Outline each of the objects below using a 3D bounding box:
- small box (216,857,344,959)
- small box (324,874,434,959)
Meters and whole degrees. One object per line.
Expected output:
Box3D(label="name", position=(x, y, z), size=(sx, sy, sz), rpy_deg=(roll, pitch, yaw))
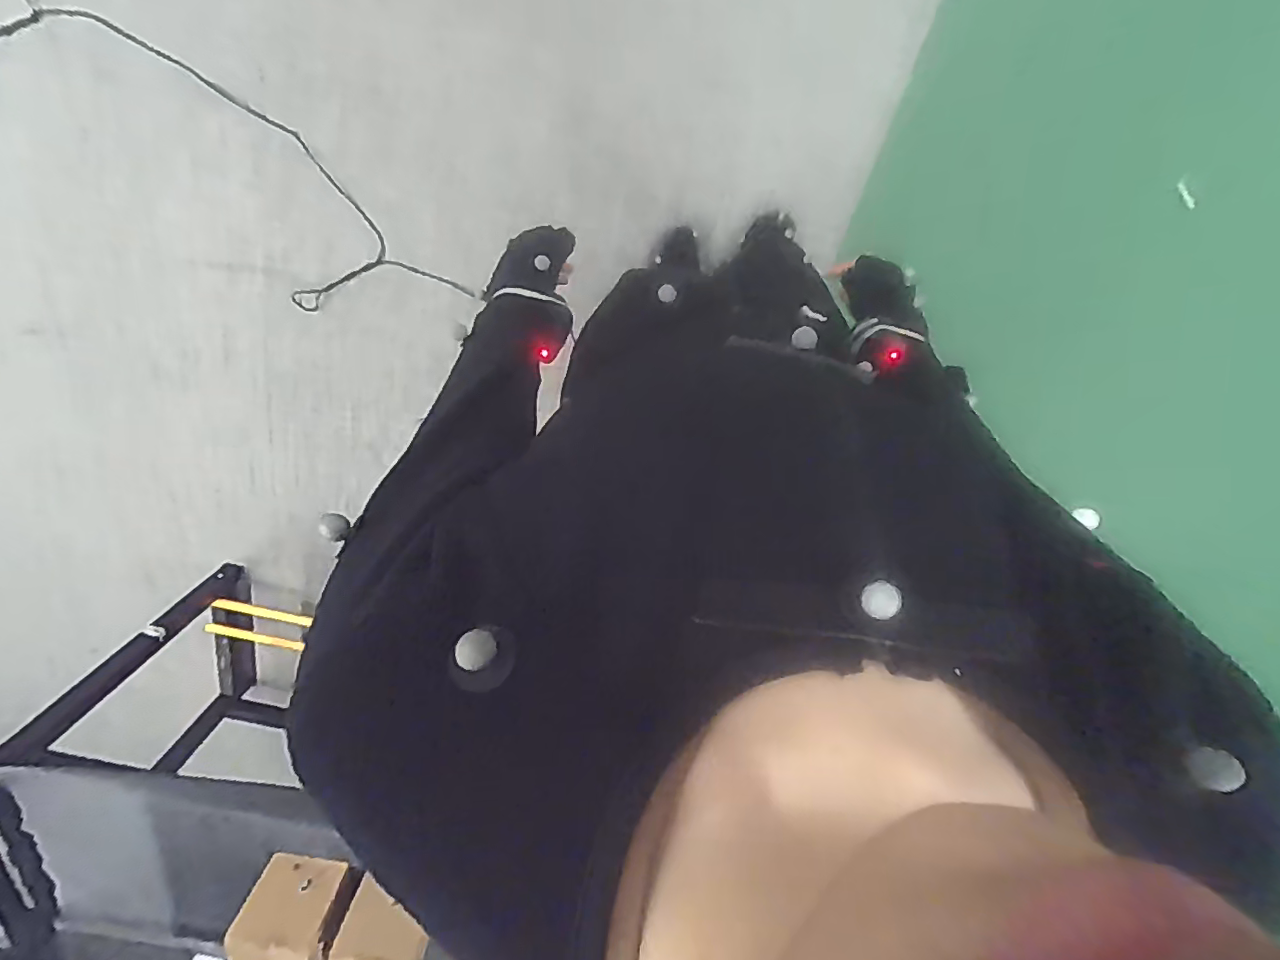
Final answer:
Box3D(label="small box", position=(-0.758, 0.955, 1.158), size=(0.168, 0.176, 0.179), rpy_deg=(13, 116, -5))
Box3D(label="small box", position=(-0.559, 0.999, 1.169), size=(0.168, 0.176, 0.179), rpy_deg=(13, 116, -4))
